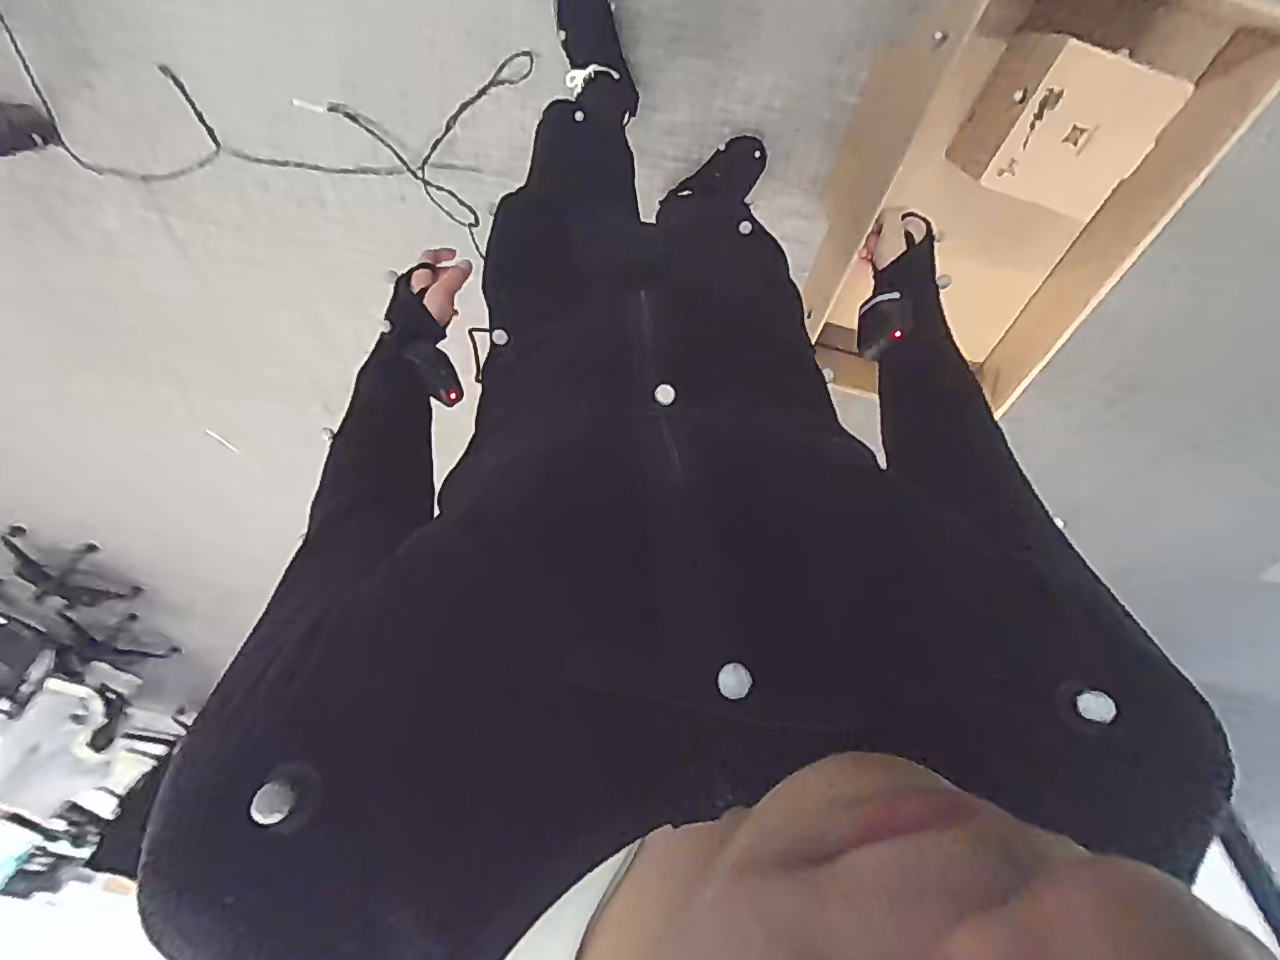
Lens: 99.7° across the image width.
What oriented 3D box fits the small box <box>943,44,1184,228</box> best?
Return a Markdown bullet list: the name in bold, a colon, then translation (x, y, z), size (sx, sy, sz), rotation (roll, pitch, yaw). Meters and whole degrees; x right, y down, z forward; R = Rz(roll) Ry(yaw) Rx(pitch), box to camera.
- **small box**: translation (0.575, -0.490, 0.765), size (0.179, 0.176, 0.168), rotation (16, 132, -5)
